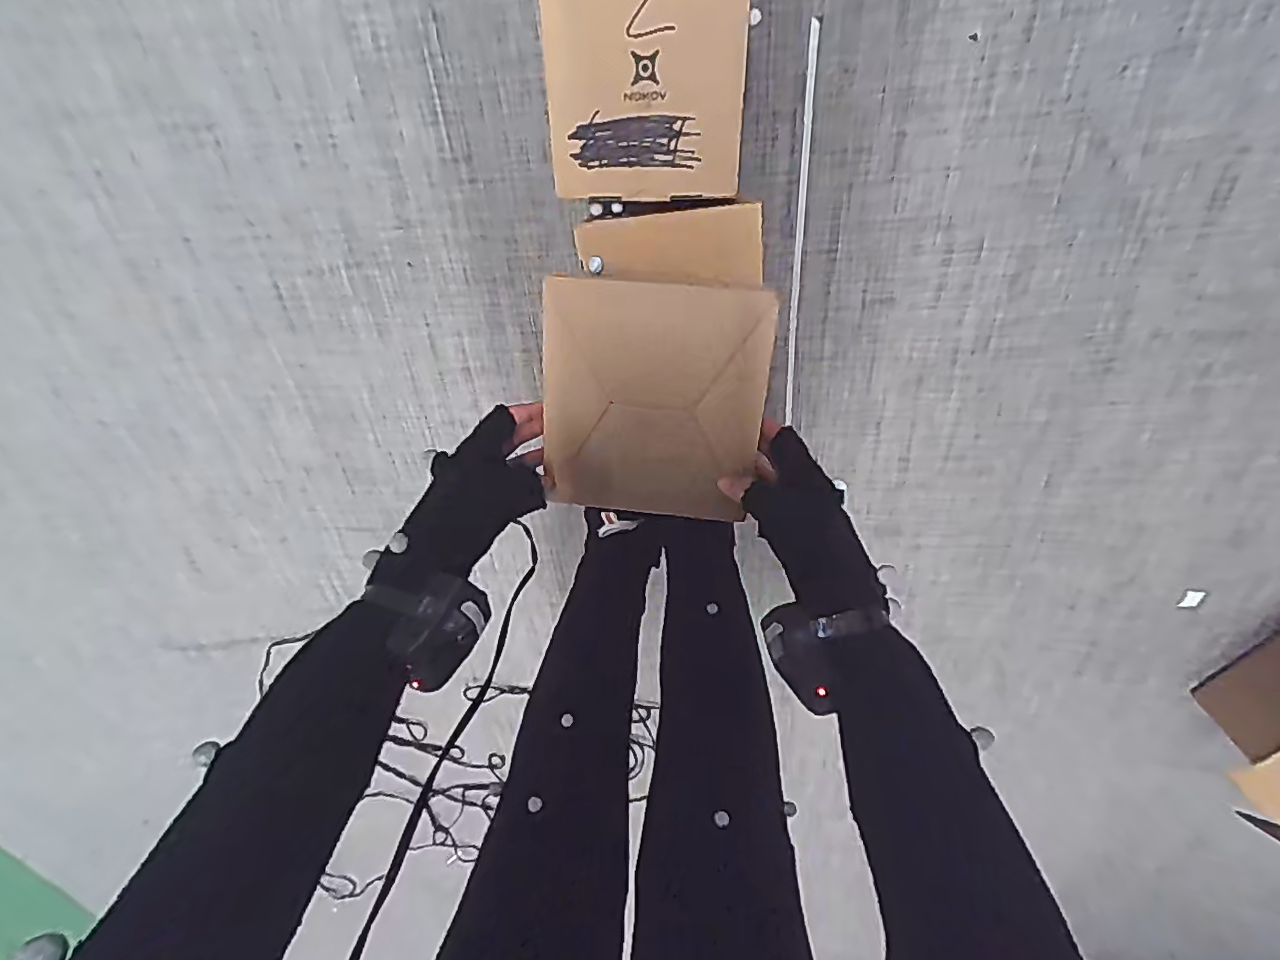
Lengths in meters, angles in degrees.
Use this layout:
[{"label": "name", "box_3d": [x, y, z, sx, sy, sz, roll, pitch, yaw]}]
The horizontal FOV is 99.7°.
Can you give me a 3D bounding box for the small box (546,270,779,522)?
[{"label": "small box", "box_3d": [0.018, -0.083, 0.476, 0.168, 0.176, 0.179, 7, 113, 4]}]
